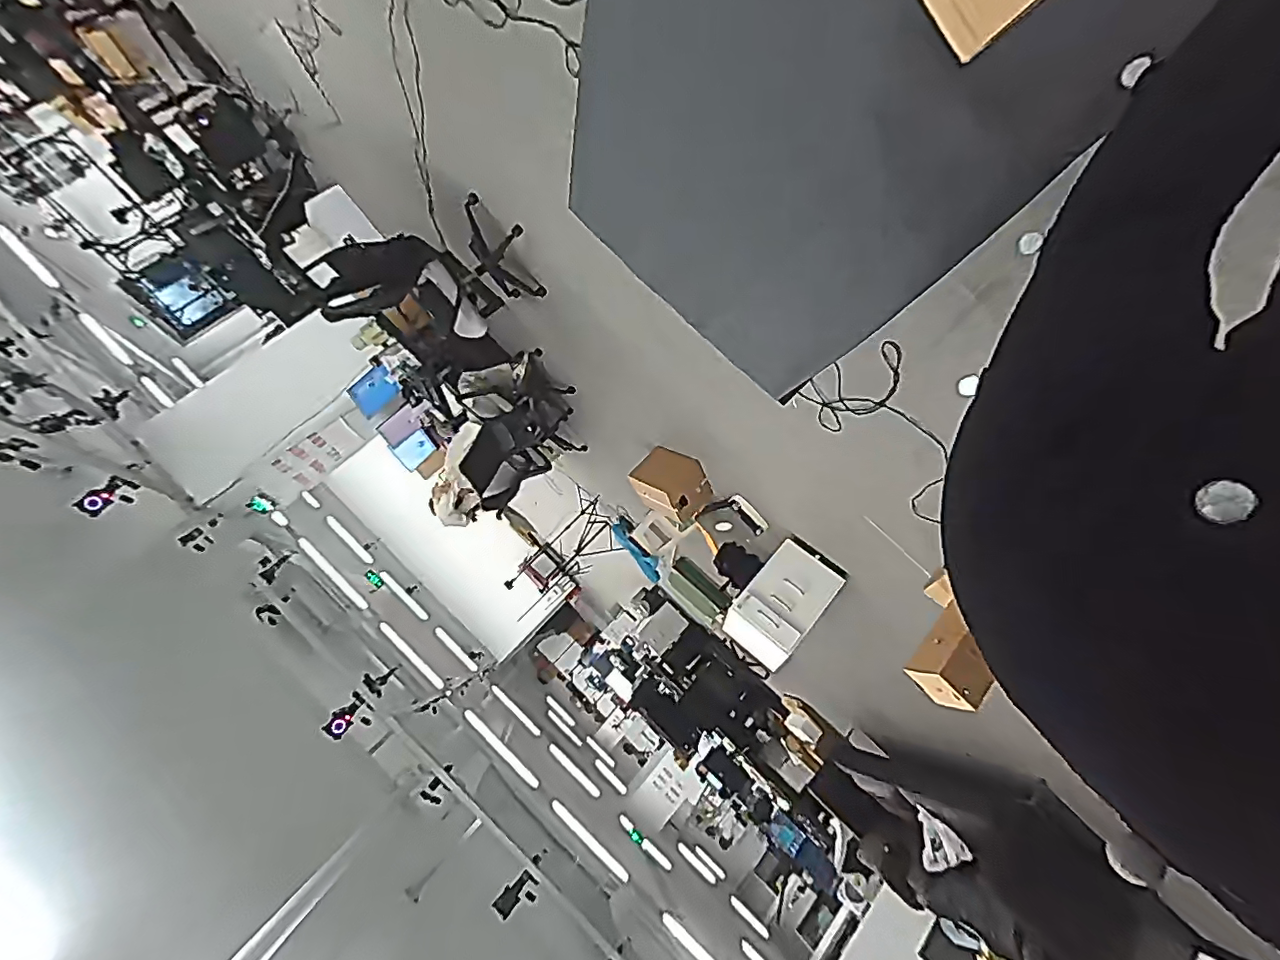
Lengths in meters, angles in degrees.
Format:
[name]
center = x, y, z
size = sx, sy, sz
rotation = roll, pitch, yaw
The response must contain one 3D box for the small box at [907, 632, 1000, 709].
[small box]
center = 1.045, 0.626, 1.801
size = 0.168, 0.176, 0.179
rotation = 44, 163, 2
